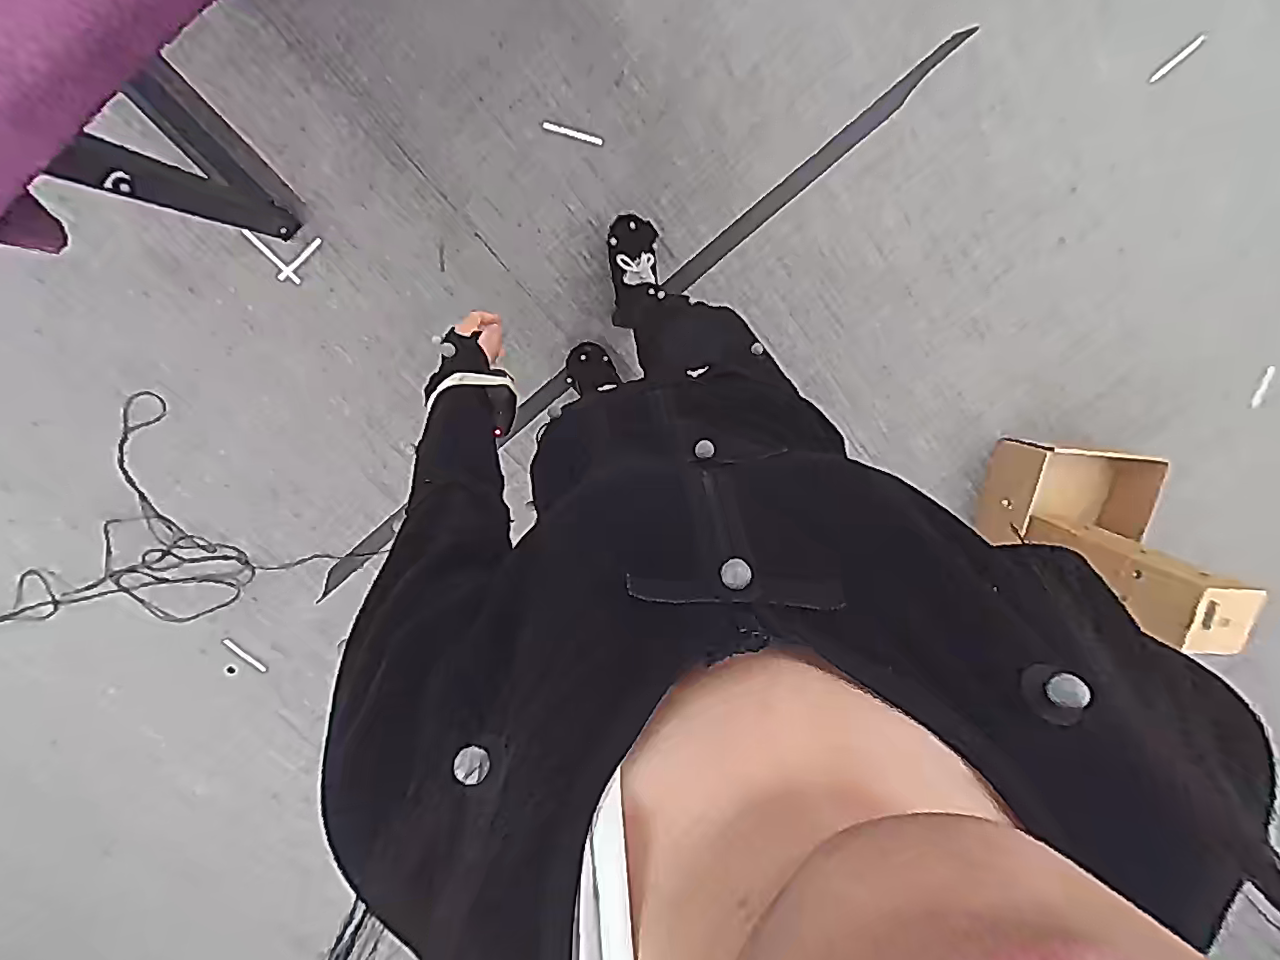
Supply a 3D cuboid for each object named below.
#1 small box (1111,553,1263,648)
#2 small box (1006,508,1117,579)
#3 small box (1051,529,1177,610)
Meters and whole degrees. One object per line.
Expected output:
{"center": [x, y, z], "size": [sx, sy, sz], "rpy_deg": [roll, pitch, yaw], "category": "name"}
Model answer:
{"center": [1.301, 0.285, 1.300], "size": [0.179, 0.176, 0.168], "rpy_deg": [4, 105, -11], "category": "small box"}
{"center": [1.251, 0.192, 1.609], "size": [0.179, 0.176, 0.168], "rpy_deg": [7, 105, -10], "category": "small box"}
{"center": [1.274, 0.240, 1.456], "size": [0.179, 0.176, 0.168], "rpy_deg": [6, 105, -9], "category": "small box"}
